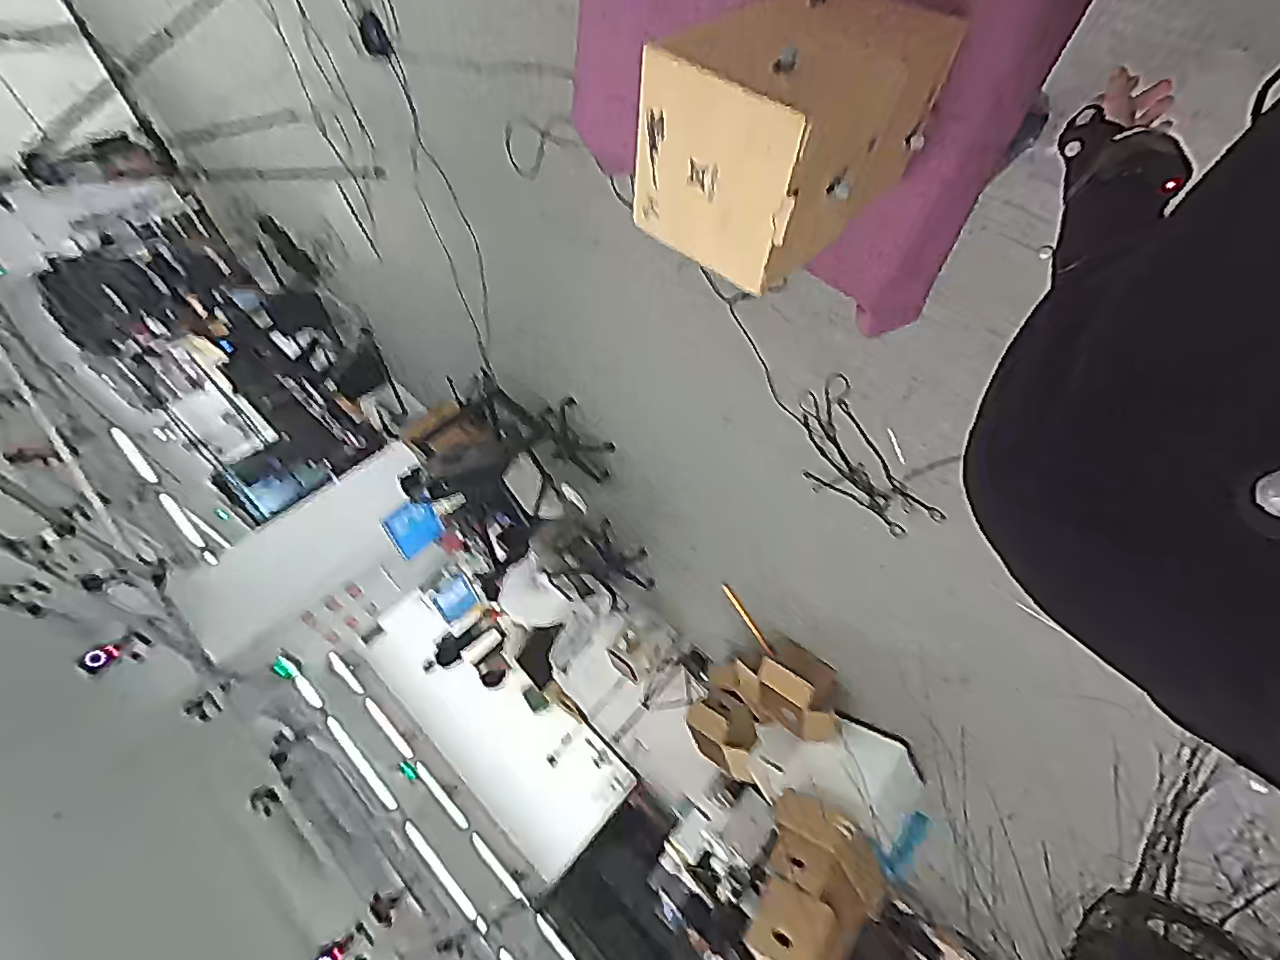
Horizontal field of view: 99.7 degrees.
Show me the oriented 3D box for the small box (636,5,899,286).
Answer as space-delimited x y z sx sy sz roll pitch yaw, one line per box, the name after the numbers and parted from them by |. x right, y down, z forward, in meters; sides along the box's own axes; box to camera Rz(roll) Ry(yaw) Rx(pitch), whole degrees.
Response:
0.118 -0.334 0.537 0.179 0.176 0.168 37 151 19 | small box

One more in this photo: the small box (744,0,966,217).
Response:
0.220 -0.436 0.614 0.179 0.176 0.168 37 151 21 | small box
